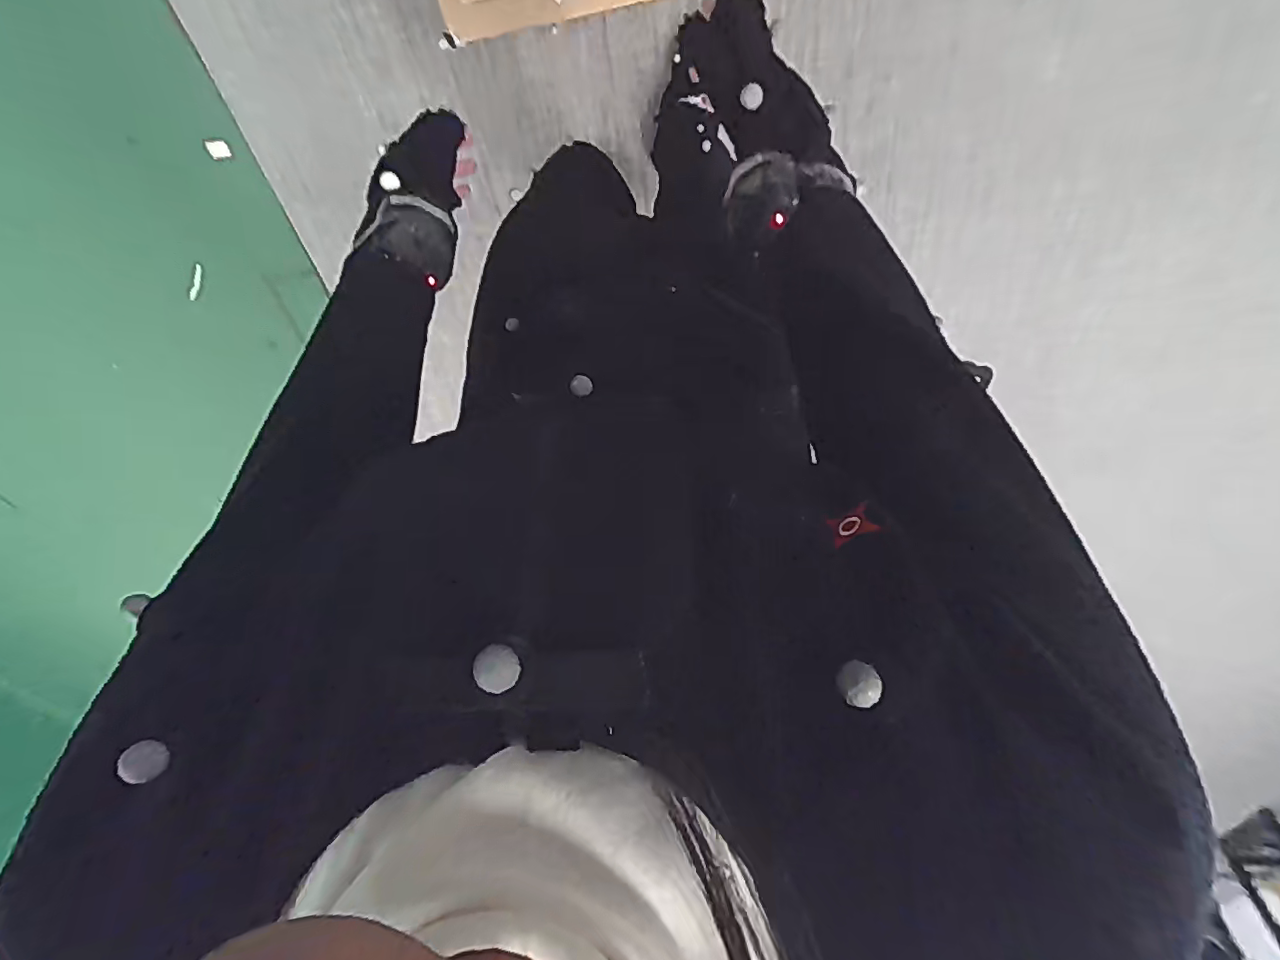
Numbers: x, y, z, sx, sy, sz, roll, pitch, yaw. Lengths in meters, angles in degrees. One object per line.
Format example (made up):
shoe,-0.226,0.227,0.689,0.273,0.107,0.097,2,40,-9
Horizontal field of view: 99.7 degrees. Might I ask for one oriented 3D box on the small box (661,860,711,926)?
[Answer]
small box,0.175,1.553,2.037,0.168,0.176,0.179,-6,131,12
